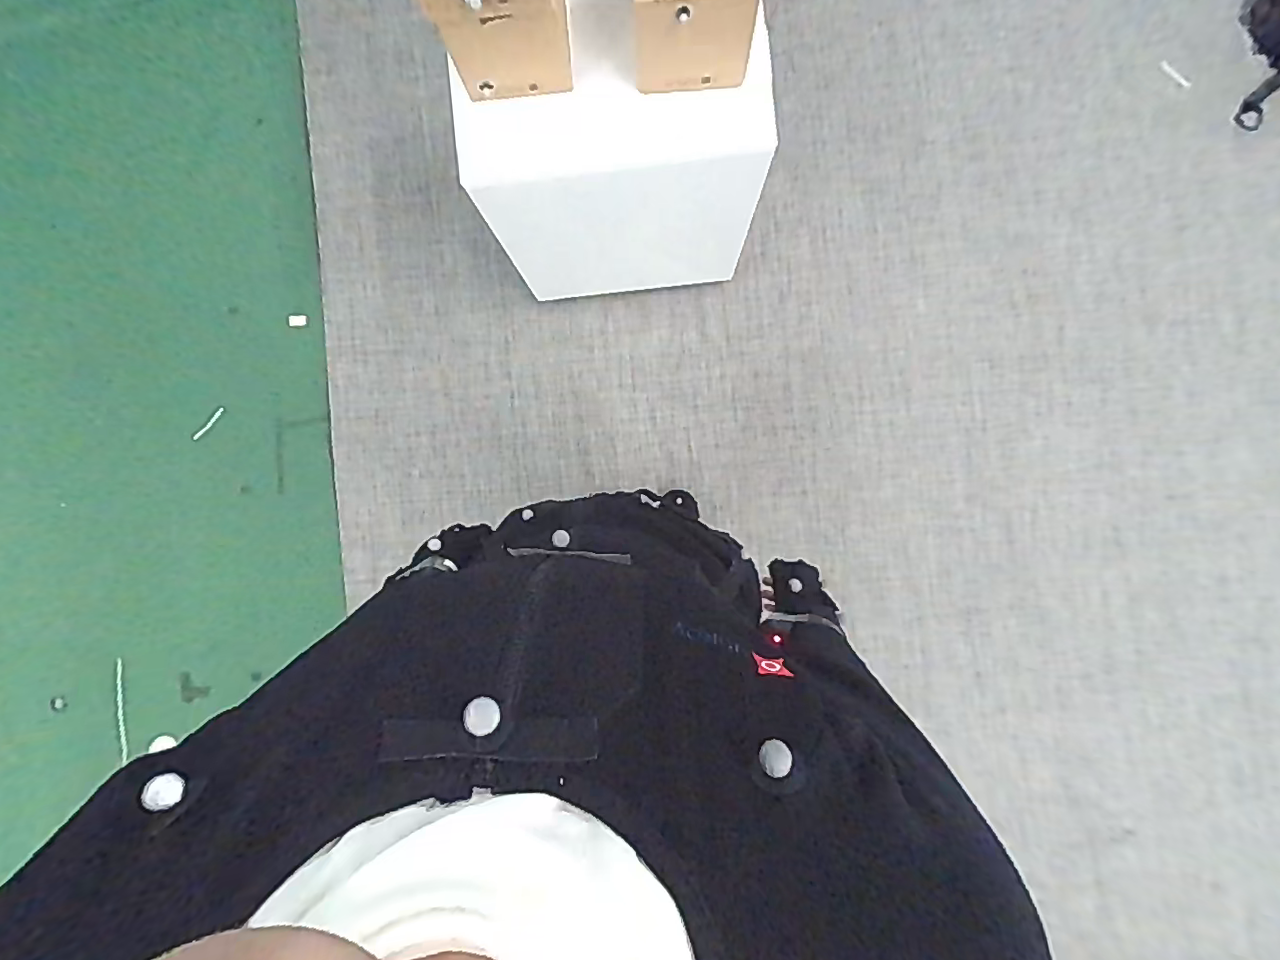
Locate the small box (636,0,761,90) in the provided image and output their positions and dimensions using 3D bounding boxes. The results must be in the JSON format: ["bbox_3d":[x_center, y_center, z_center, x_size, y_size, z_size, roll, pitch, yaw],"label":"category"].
[{"bbox_3d":[0.078,-0.705,0.771,0.168,0.176,0.179,-2,89,4],"label":"small box"}]

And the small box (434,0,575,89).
[{"bbox_3d":[-0.191,-0.705,0.783,0.168,0.176,0.179,-5,89,2],"label":"small box"}]

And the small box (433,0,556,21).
[{"bbox_3d":[-0.196,-0.690,0.622,0.168,0.176,0.179,-5,91,3],"label":"small box"}]
